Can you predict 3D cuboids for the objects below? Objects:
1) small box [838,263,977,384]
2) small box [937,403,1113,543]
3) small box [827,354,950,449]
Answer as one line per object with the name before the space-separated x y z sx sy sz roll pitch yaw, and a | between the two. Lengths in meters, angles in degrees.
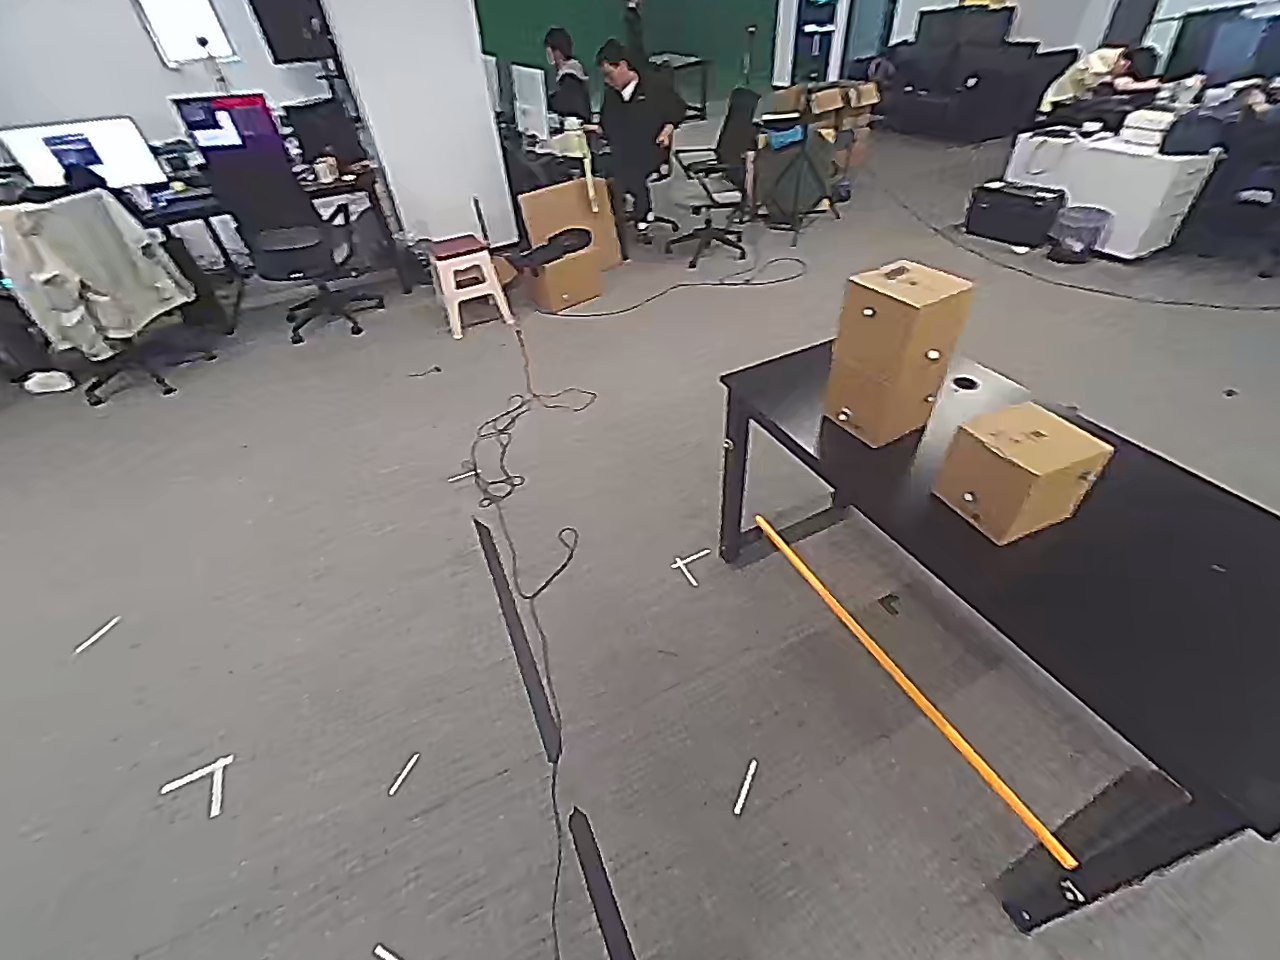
small box | 0.535 -0.322 1.111 0.168 0.176 0.179 -24 45 -20
small box | 0.692 -0.013 0.997 0.179 0.176 0.168 -17 43 -14
small box | 0.549 -0.200 1.220 0.179 0.176 0.168 -24 44 -19
